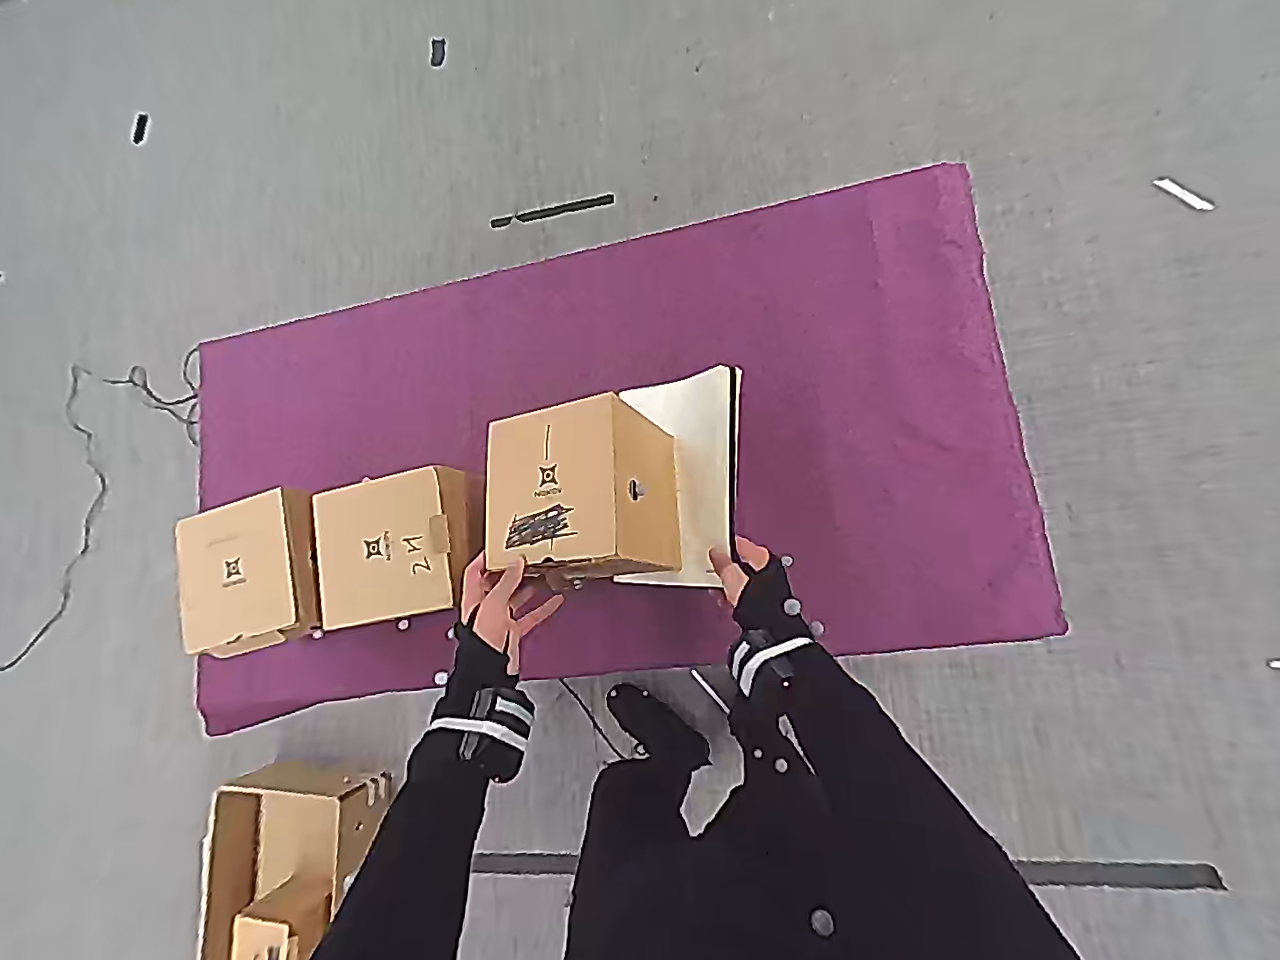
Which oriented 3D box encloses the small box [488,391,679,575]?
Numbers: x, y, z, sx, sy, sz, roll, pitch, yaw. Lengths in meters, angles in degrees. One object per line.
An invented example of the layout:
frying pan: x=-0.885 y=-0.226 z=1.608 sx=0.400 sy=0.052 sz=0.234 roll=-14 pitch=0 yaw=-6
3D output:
small box: x=-0.060 y=0.019 z=0.645 sx=0.168 sy=0.176 sz=0.179 roll=-11 pitch=72 yaw=25

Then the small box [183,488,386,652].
small box: x=-0.481 y=0.122 z=0.752 sx=0.168 sy=0.176 sz=0.179 roll=-16 pitch=79 yaw=9
